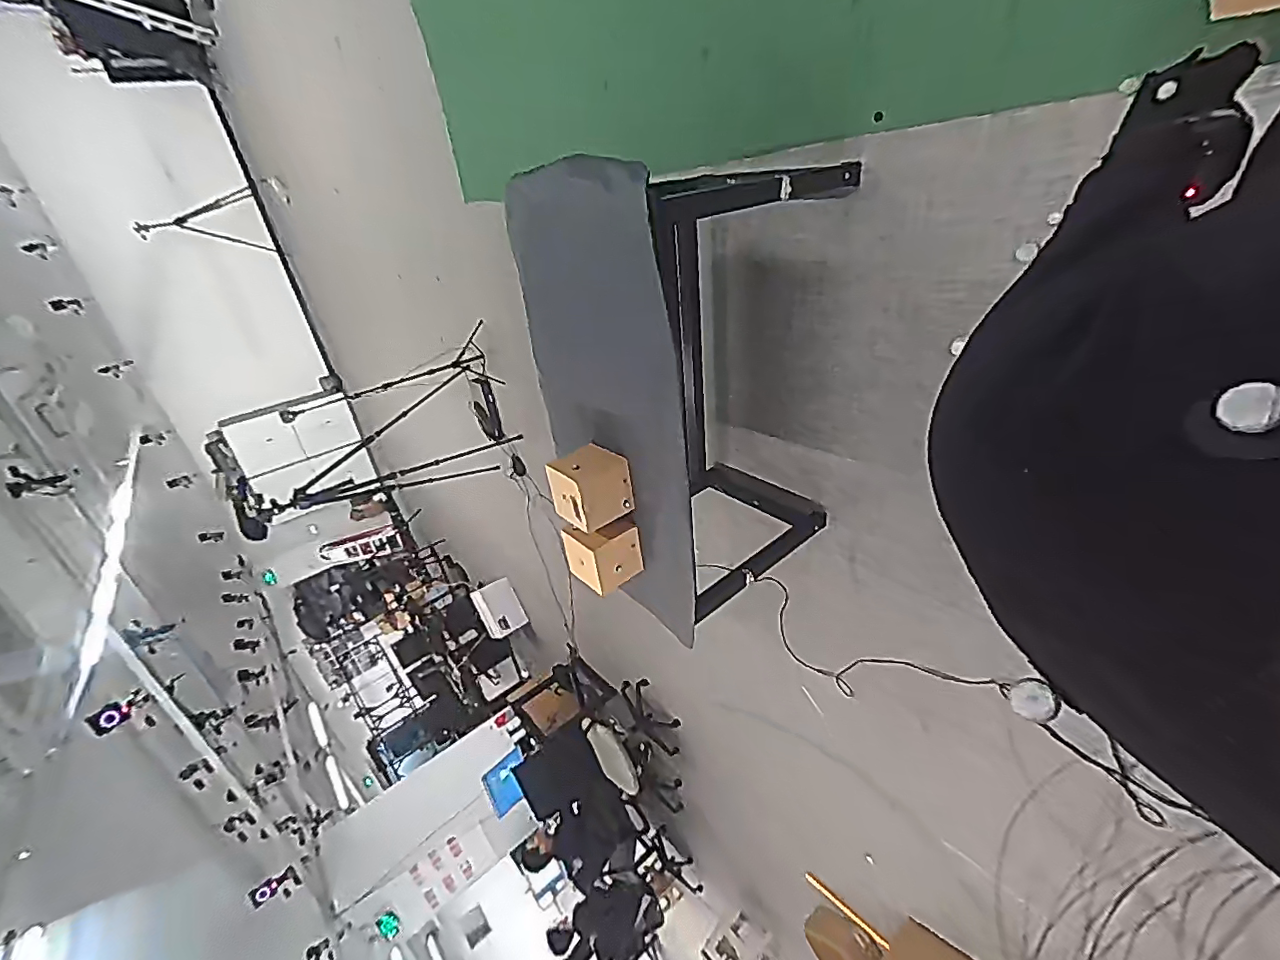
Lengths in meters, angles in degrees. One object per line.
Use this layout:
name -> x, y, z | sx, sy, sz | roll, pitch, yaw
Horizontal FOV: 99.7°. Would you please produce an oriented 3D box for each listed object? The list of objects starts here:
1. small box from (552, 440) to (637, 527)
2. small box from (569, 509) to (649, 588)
small box -> -0.120, 0.001, 1.542 | 0.179, 0.176, 0.168 | 26, 135, 46
small box -> -0.087, 0.192, 1.652 | 0.179, 0.176, 0.168 | 26, 135, 46
